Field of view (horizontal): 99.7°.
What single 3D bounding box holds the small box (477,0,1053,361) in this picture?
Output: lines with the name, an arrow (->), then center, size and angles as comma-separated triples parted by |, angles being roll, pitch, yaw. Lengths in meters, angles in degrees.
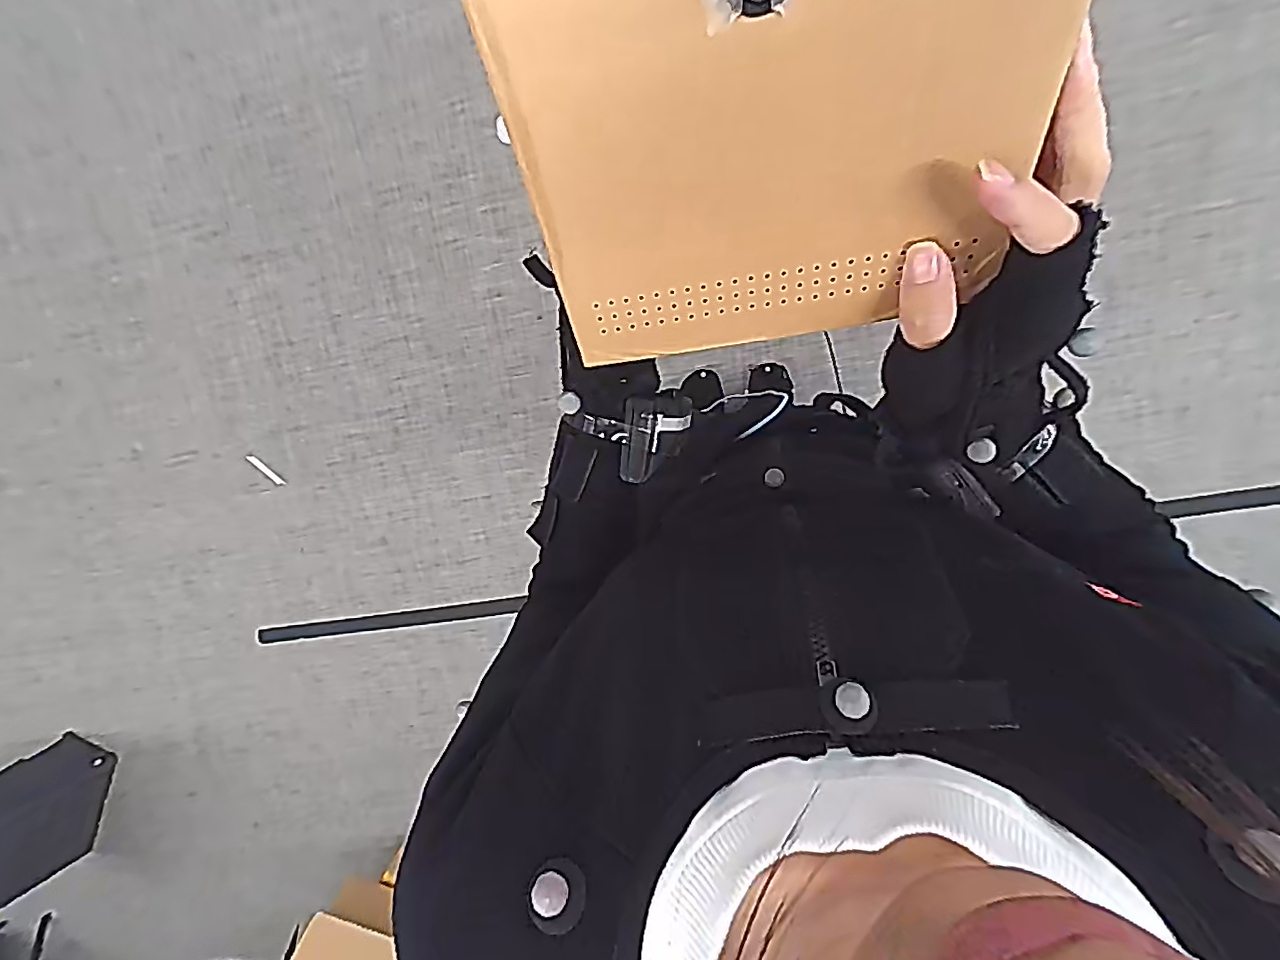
small box -> 0.047, -0.170, 0.234 | 0.179, 0.168, 0.176 | -6, 140, 9
